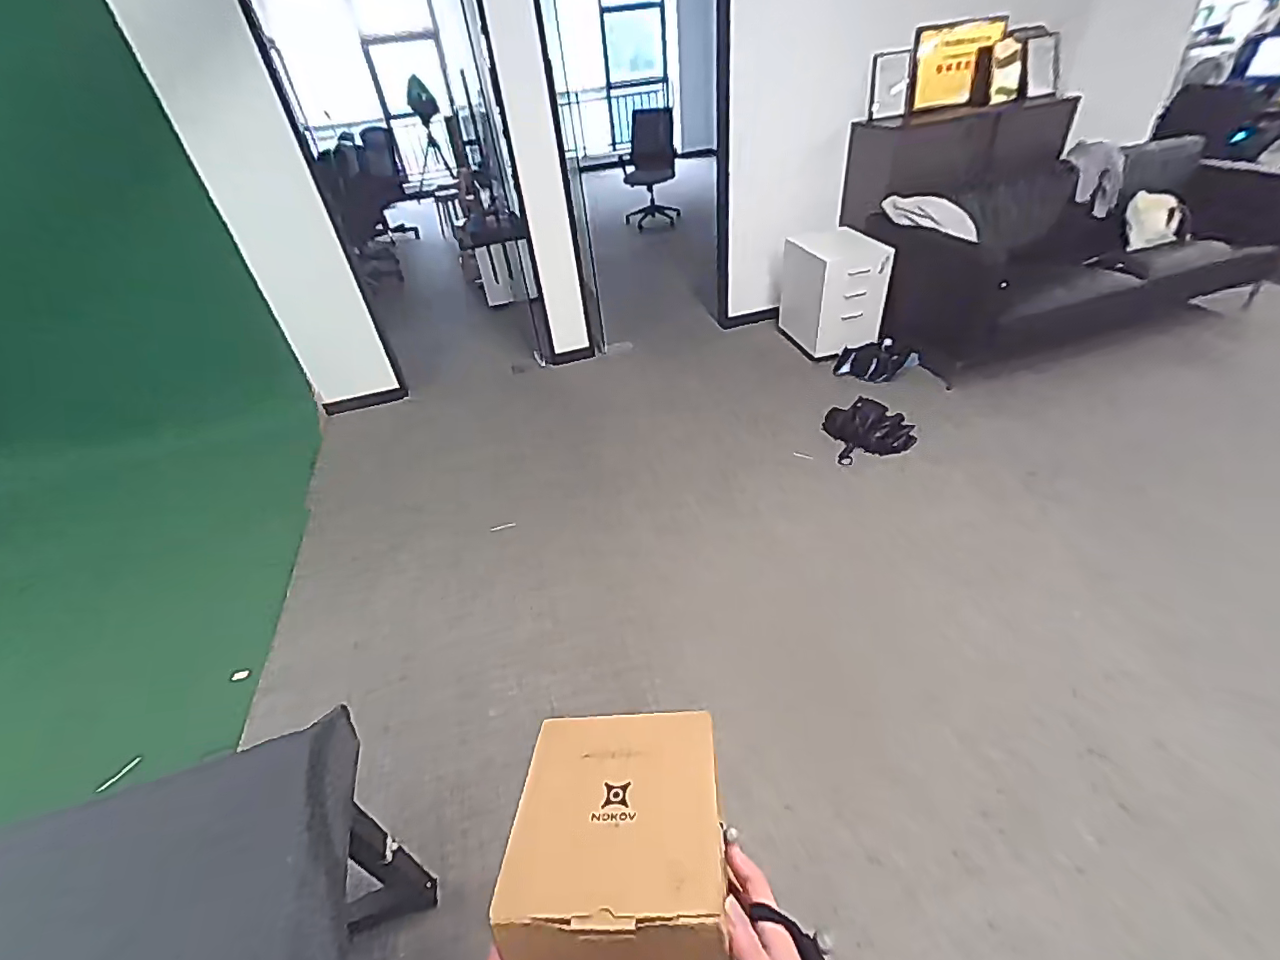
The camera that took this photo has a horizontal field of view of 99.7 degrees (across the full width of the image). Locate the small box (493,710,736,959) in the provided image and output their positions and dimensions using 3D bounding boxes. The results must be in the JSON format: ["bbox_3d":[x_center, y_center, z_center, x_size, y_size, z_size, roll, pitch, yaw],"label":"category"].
[{"bbox_3d":[-0.007,0.333,0.472,0.168,0.176,0.179,-5,22,6],"label":"small box"}]
